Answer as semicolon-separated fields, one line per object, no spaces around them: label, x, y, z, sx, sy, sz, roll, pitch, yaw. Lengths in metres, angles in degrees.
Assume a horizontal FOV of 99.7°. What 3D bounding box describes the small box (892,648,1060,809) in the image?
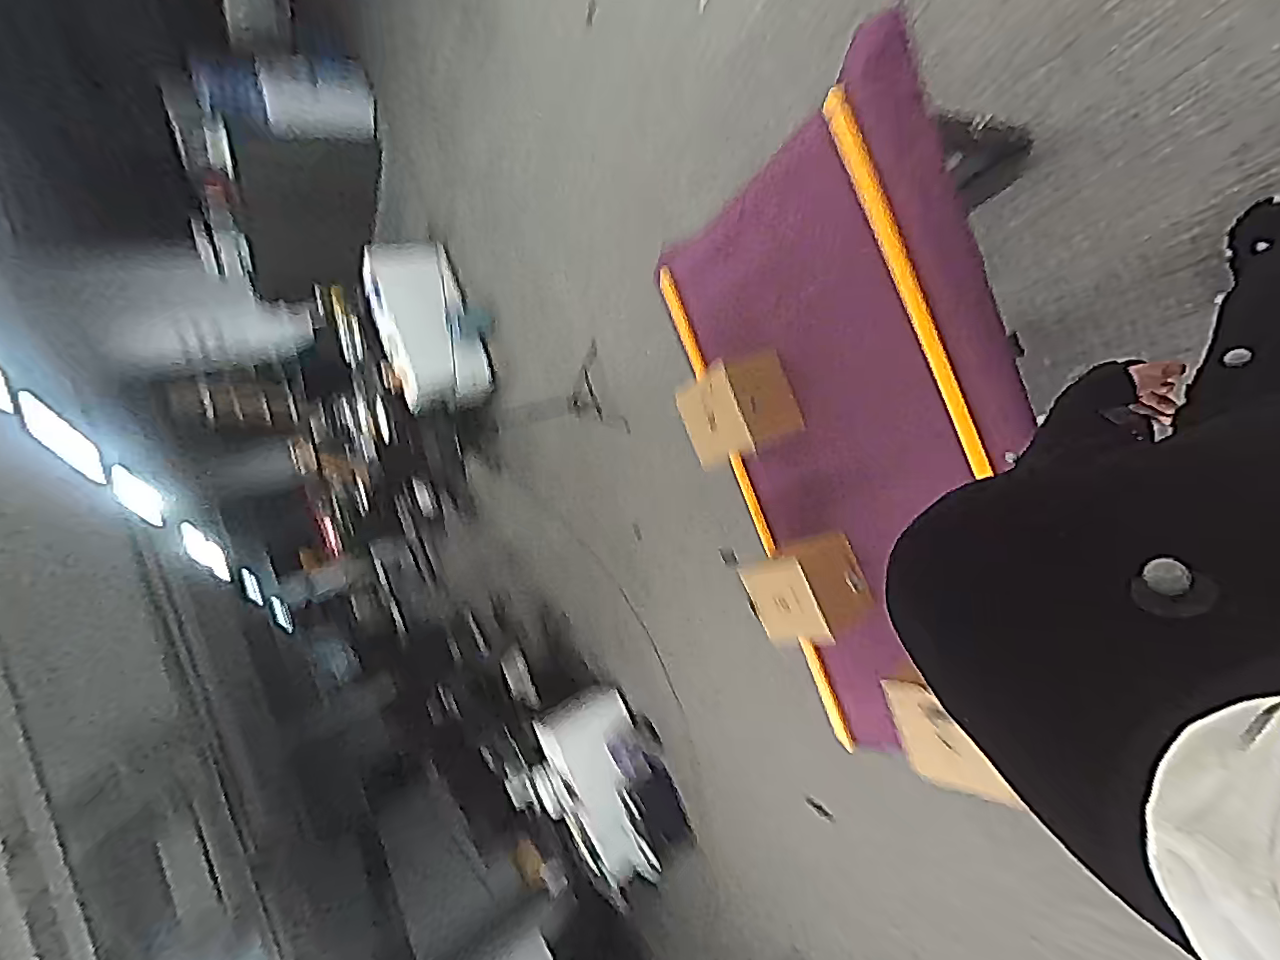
small box;0.571;0.404;0.920;0.168;0.176;0.179;-19;91;57

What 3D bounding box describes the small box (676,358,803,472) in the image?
small box;0.213;-0.138;1.148;0.168;0.176;0.179;-26;85;55

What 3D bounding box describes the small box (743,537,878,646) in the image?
small box;0.358;0.236;1.140;0.179;0.176;0.168;-30;82;55
